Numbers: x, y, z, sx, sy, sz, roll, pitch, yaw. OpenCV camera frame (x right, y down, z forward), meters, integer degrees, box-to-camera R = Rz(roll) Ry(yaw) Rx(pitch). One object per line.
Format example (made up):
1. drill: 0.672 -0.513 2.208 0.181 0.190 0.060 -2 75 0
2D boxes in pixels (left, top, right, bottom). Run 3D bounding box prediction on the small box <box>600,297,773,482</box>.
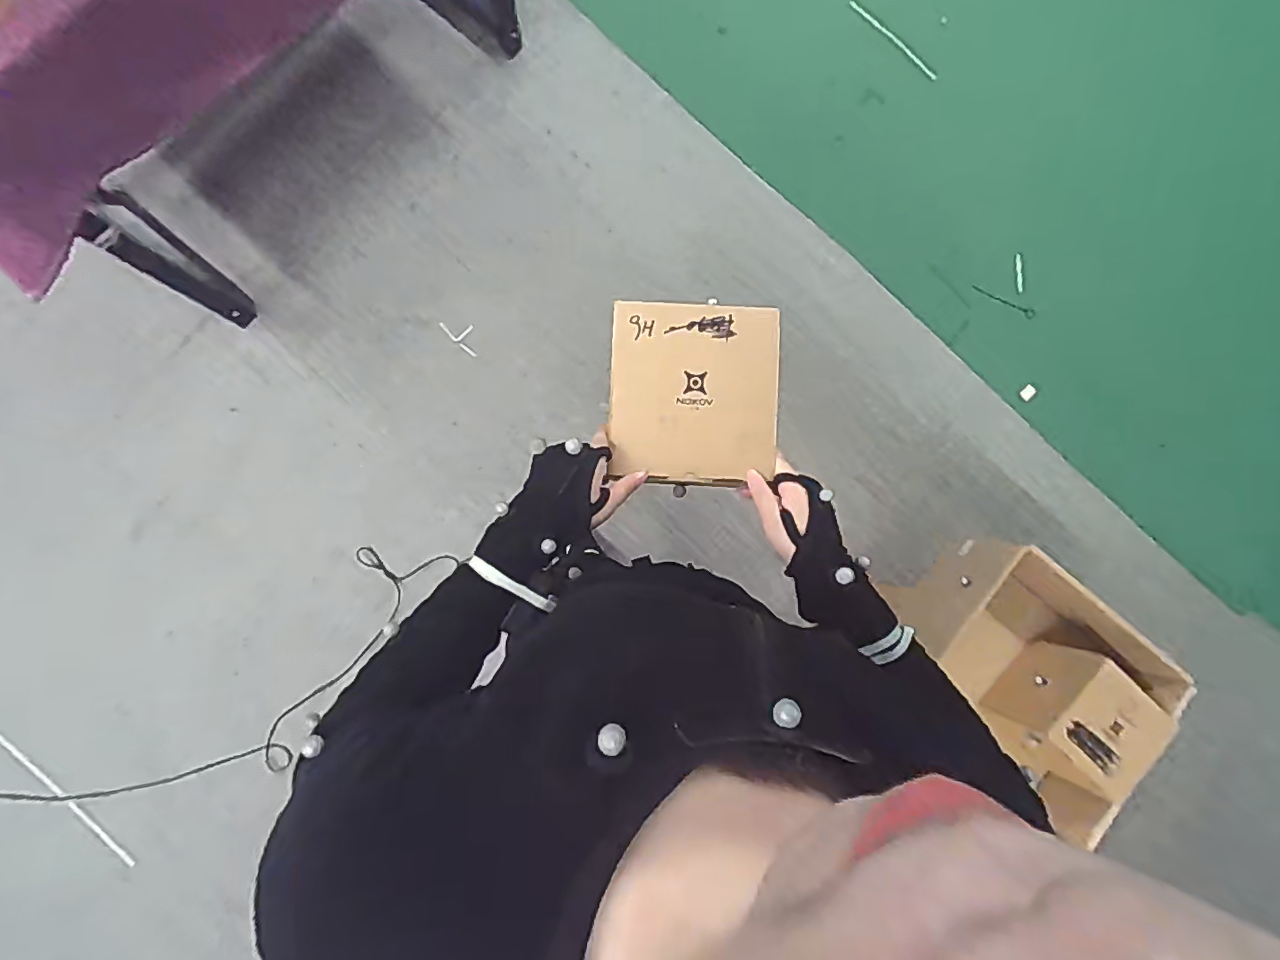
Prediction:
1. small box: 0.045 -0.089 0.610 0.168 0.176 0.179 2 90 -2
